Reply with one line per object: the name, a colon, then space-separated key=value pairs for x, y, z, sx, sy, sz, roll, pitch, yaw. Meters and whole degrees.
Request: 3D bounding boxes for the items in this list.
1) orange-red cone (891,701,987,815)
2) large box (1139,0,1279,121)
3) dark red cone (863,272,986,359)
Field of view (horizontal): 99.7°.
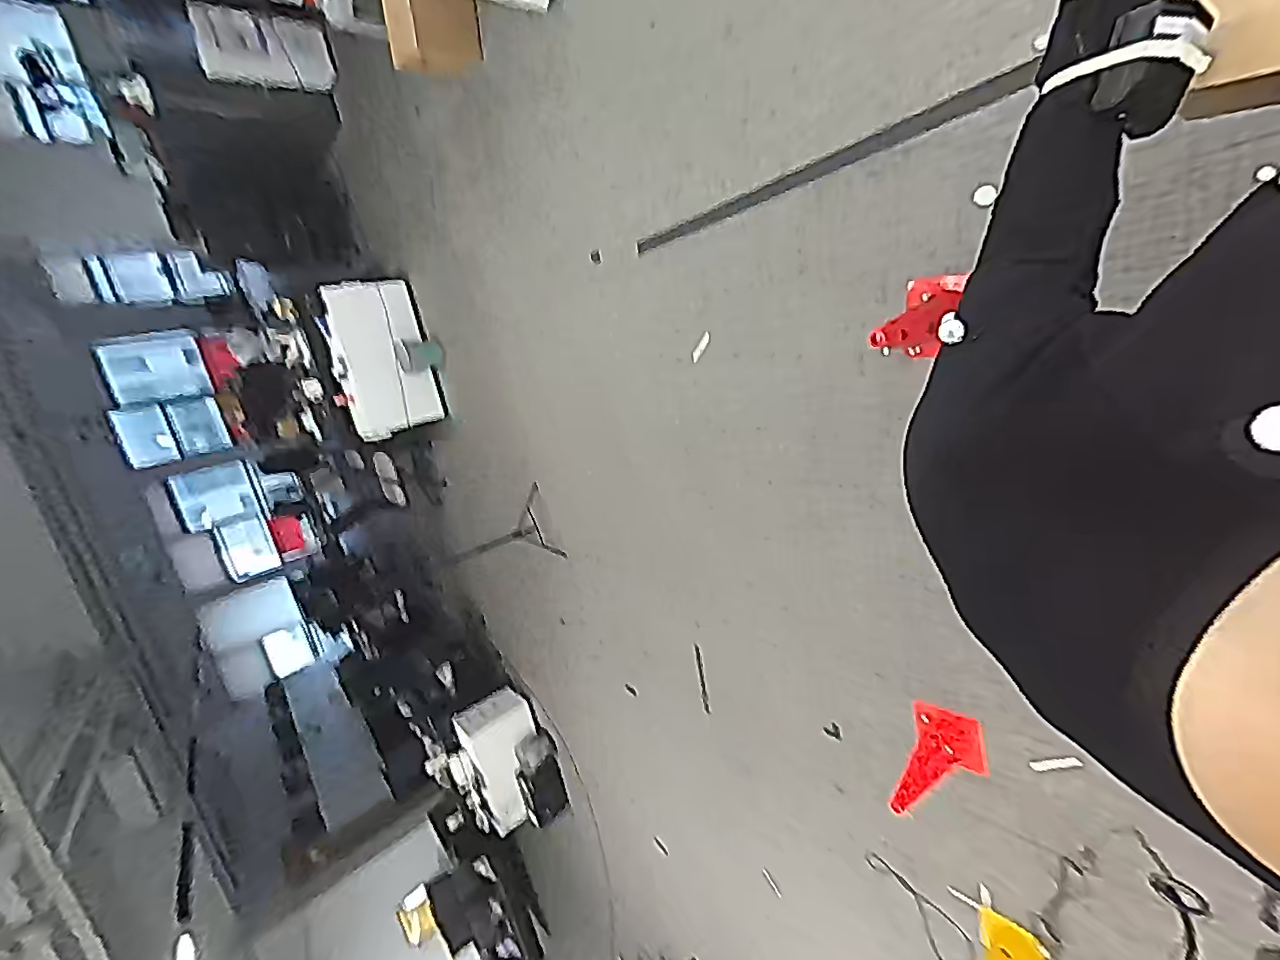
orange-red cone: x=0.858 y=0.870 z=1.620 sx=0.198 sy=0.360 sz=0.199 roll=2 pitch=111 yaw=53
large box: x=0.600 y=-0.442 z=0.308 sx=0.408 sy=0.320 sz=0.320 roll=17 pitch=123 yaw=44
dark red cone: x=0.624 y=-0.353 z=1.244 sx=0.201 sy=0.394 sz=0.202 roll=13 pitch=118 yaw=48
